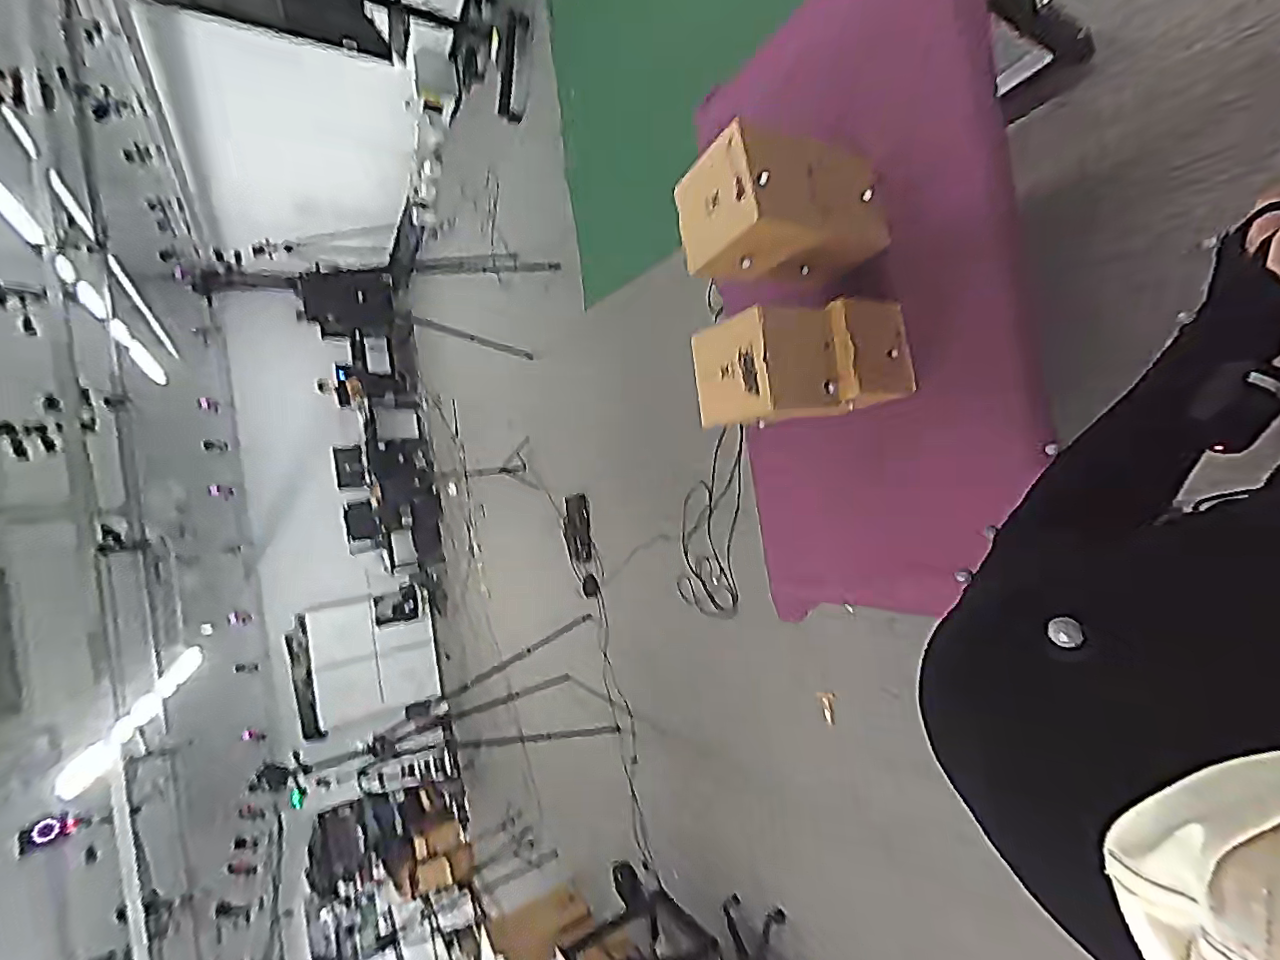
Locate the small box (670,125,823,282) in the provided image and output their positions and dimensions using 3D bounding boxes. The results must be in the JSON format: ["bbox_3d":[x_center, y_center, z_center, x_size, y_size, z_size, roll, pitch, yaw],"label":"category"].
[{"bbox_3d":[0.179,-0.455,0.924,0.179,0.176,0.168,-20,81,58],"label":"small box"}]

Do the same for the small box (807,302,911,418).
[{"bbox_3d":[0.363,-0.212,1.001,0.179,0.176,0.168,-16,83,57],"label":"small box"}]

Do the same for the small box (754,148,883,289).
[{"bbox_3d":[0.317,-0.473,1.011,0.179,0.176,0.168,-18,82,57],"label":"small box"}]

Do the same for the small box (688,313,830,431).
[{"bbox_3d":[0.210,-0.183,0.938,0.179,0.176,0.168,-8,90,58],"label":"small box"}]
